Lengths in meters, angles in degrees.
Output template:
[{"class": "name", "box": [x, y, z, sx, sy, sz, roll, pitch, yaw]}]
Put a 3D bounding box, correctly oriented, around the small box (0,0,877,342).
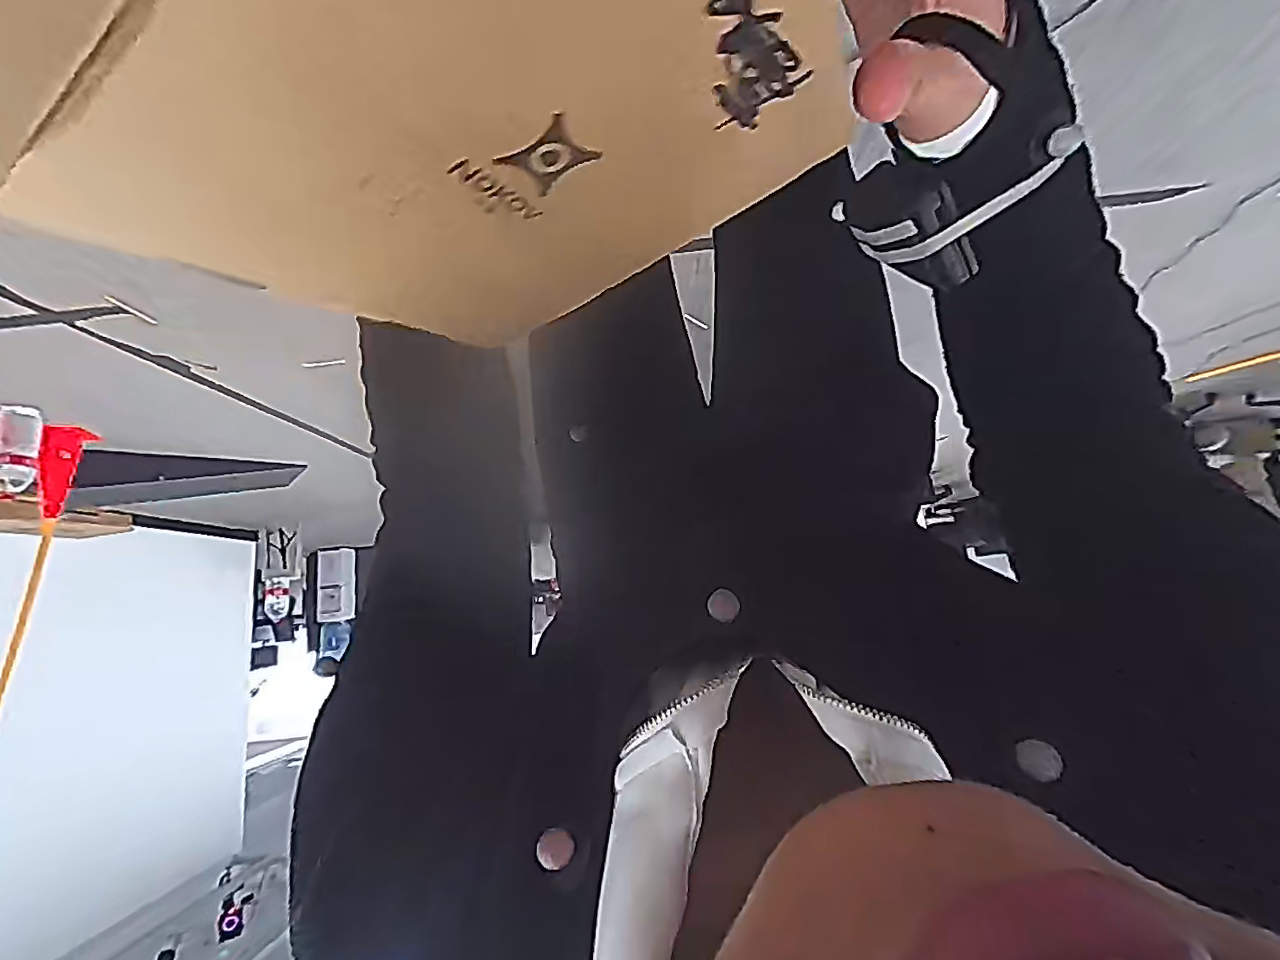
[{"class": "small box", "box": [-0.049, -0.164, 0.152, 0.179, 0.176, 0.168, -19, 175, 24]}]
